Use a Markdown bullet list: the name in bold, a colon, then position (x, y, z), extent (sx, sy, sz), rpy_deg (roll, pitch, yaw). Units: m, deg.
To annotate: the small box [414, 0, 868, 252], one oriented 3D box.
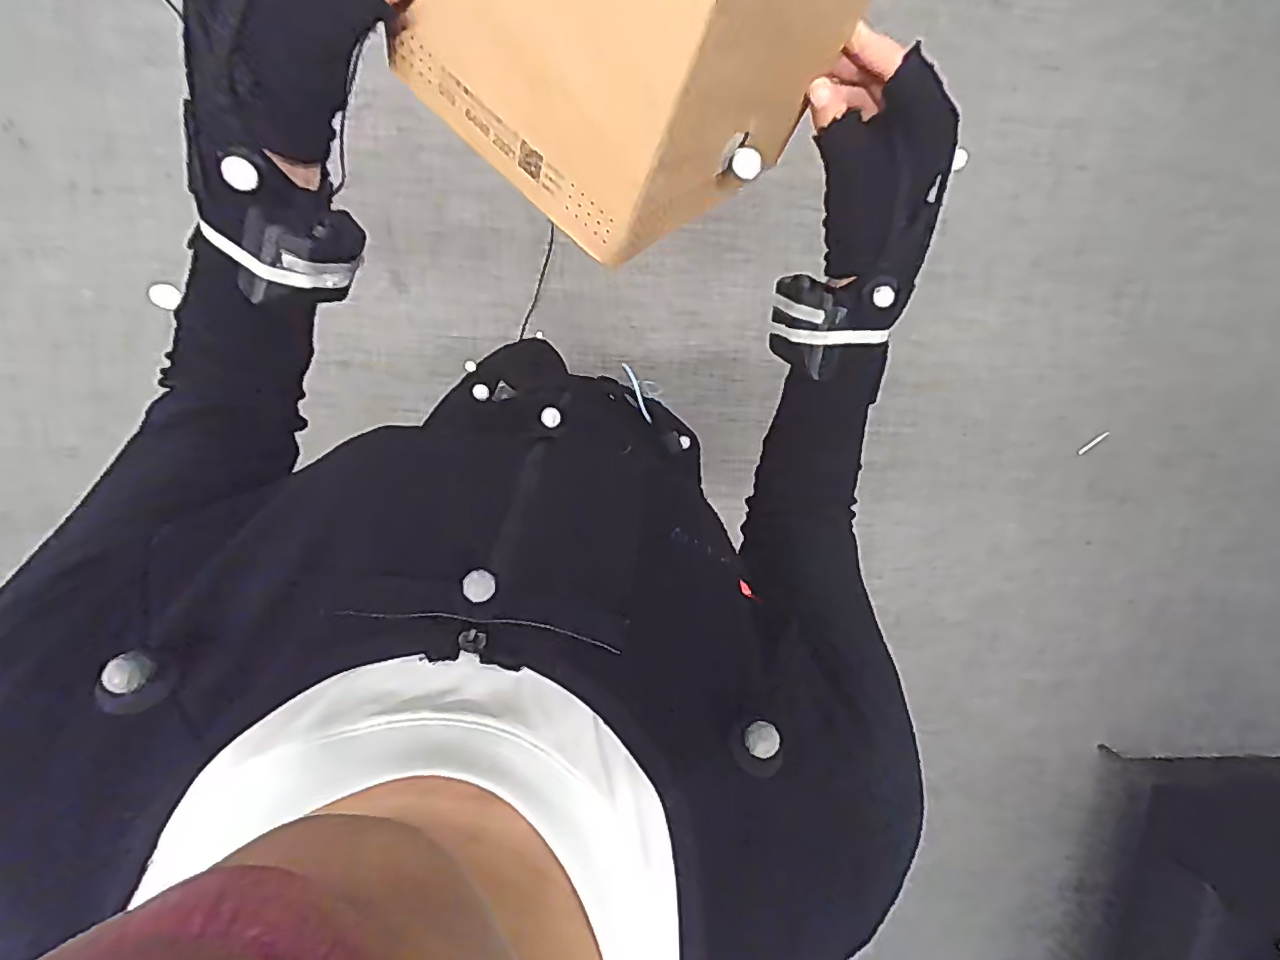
- **small box**: position (0.006, -0.252, 0.263), extent (0.168, 0.176, 0.179), rpy_deg (44, 59, 3)
